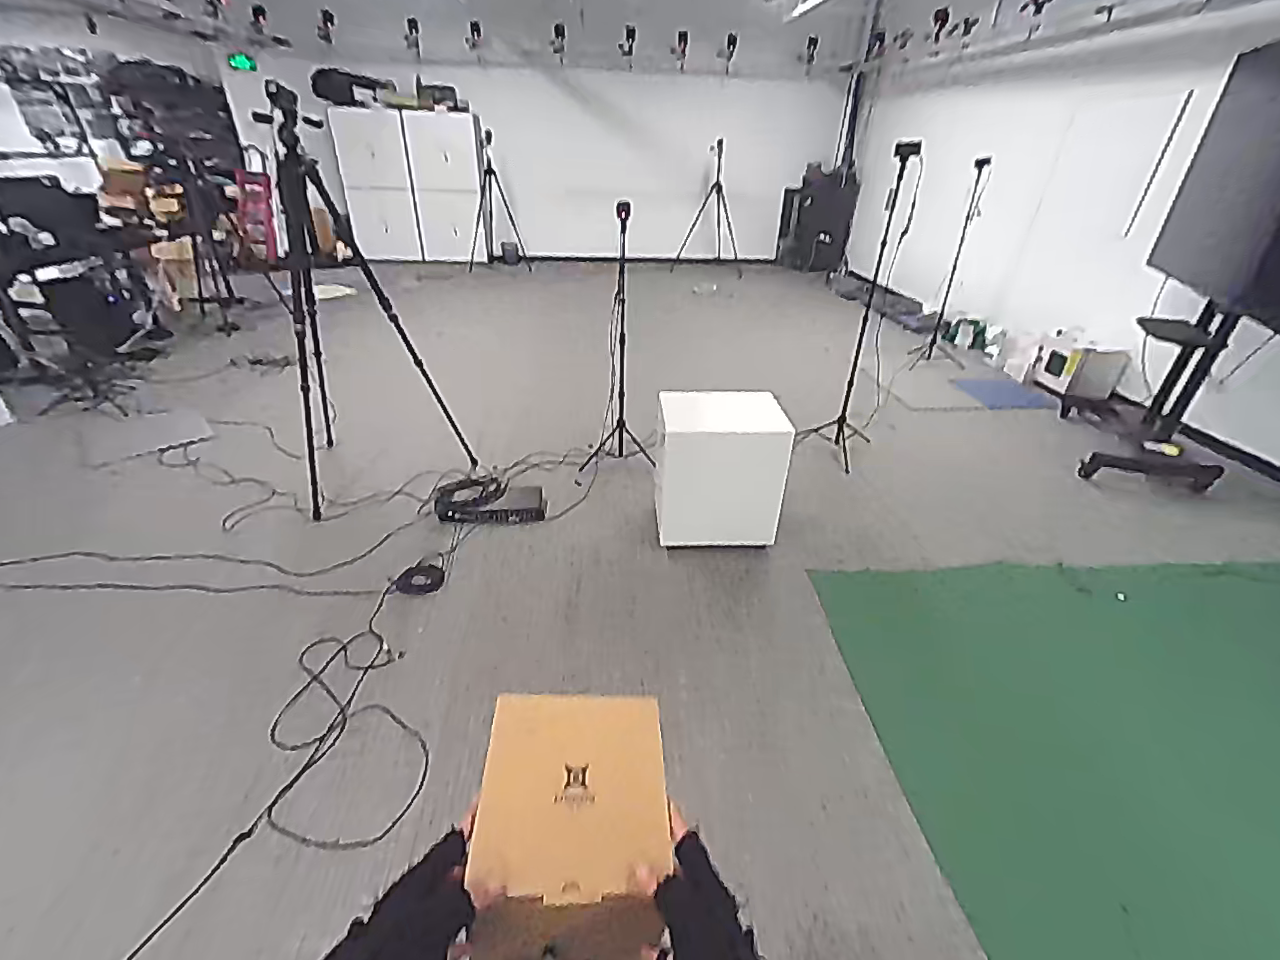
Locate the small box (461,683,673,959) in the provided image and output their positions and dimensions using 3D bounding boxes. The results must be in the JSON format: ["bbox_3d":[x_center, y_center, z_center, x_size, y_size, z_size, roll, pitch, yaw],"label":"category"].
[{"bbox_3d":[-0.070,0.324,0.523,0.168,0.176,0.179,3,33,-7],"label":"small box"}]
